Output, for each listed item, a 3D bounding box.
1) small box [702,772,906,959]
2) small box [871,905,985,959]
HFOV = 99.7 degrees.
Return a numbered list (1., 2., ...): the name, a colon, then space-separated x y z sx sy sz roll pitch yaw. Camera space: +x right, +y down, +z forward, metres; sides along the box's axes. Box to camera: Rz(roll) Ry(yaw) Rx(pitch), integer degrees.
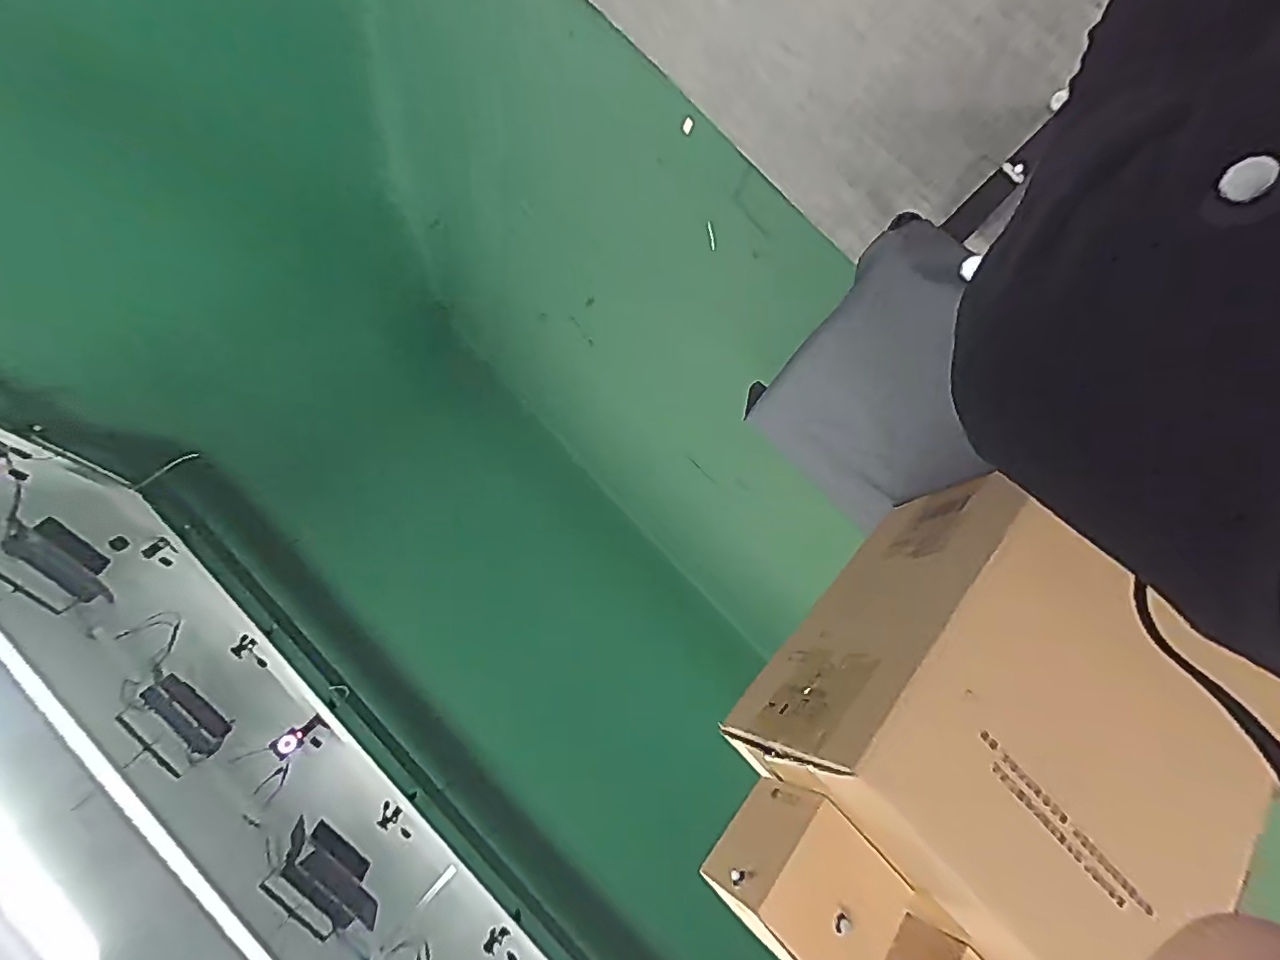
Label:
1. small box: 0.226 0.550 0.751 0.179 0.176 0.168 46 153 1
2. small box: 0.404 0.734 0.739 0.168 0.176 0.179 48 155 4
